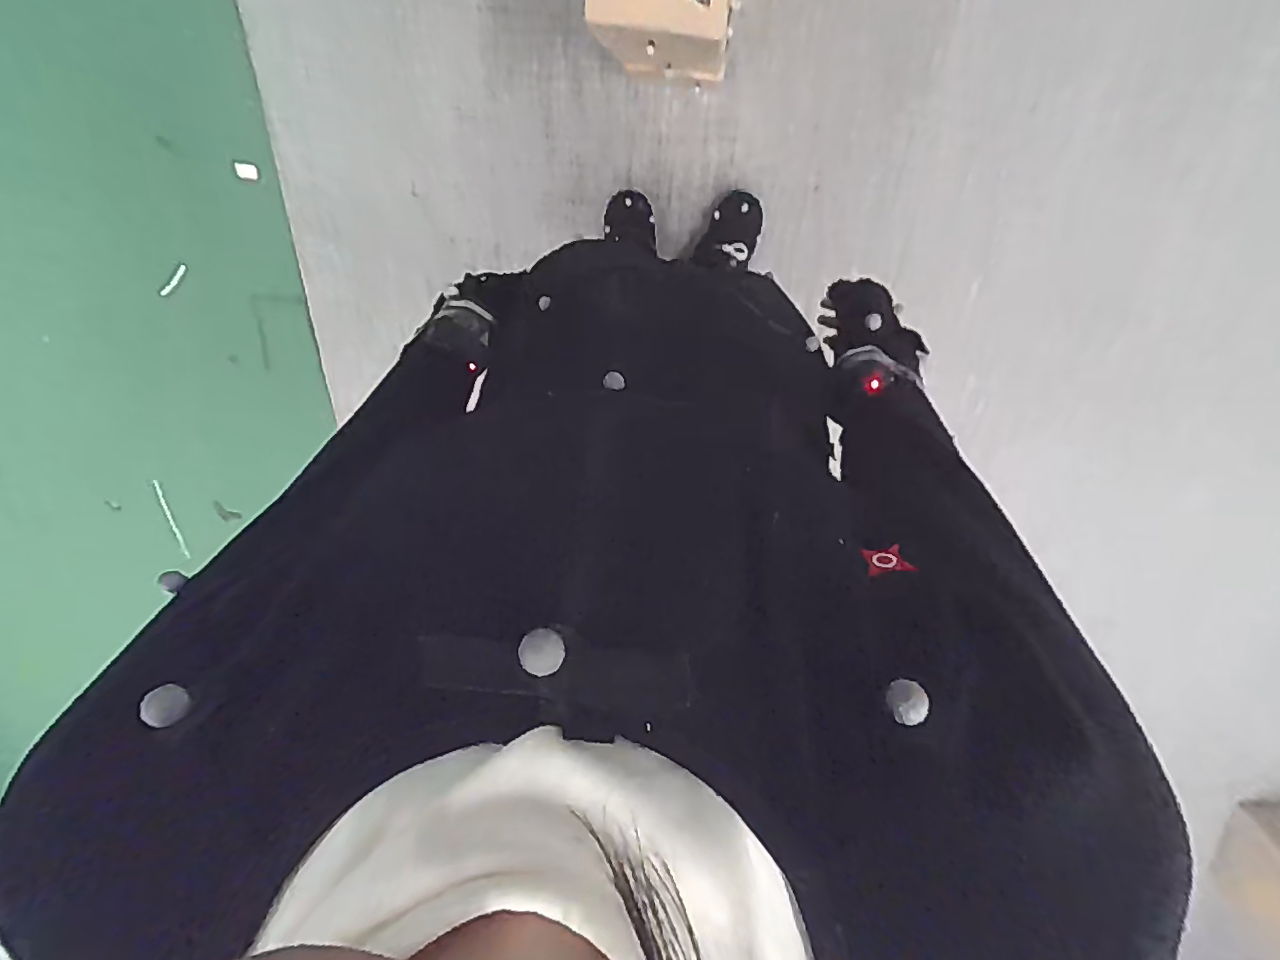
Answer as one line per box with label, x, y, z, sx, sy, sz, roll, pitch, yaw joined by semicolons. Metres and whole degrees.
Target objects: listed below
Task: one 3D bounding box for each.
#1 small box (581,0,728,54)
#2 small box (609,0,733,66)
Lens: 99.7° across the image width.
small box;0.034;-0.670;0.686;0.179;0.176;0.168;11;119;-1
small box;0.056;-0.755;0.828;0.179;0.176;0.168;9;121;1
